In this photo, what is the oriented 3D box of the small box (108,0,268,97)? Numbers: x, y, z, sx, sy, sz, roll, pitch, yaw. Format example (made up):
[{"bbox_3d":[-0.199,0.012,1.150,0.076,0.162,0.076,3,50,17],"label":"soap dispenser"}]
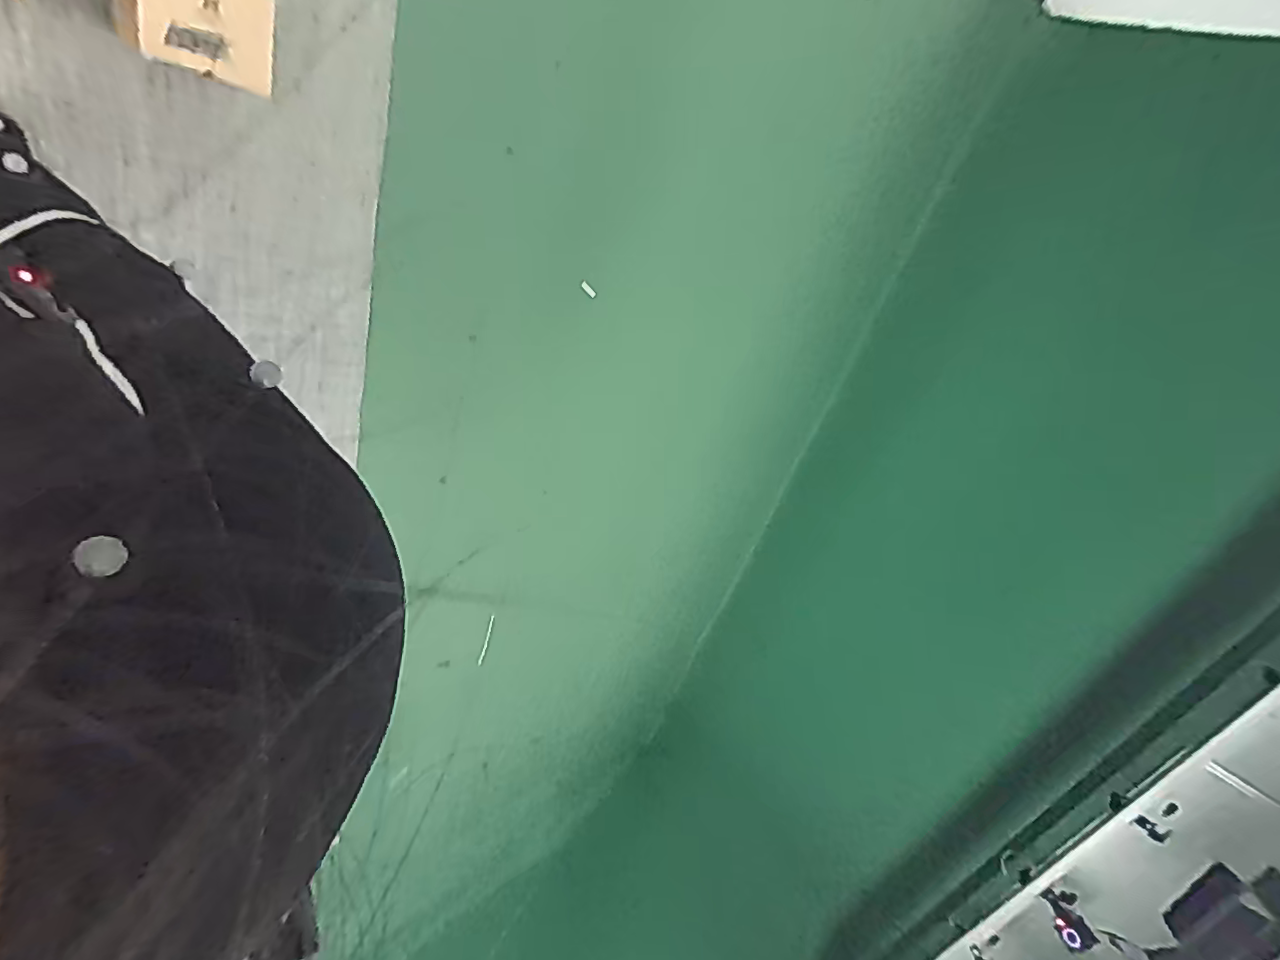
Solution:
[{"bbox_3d":[-0.699,-0.737,0.836,0.168,0.176,0.179,-10,129,-49],"label":"small box"}]
